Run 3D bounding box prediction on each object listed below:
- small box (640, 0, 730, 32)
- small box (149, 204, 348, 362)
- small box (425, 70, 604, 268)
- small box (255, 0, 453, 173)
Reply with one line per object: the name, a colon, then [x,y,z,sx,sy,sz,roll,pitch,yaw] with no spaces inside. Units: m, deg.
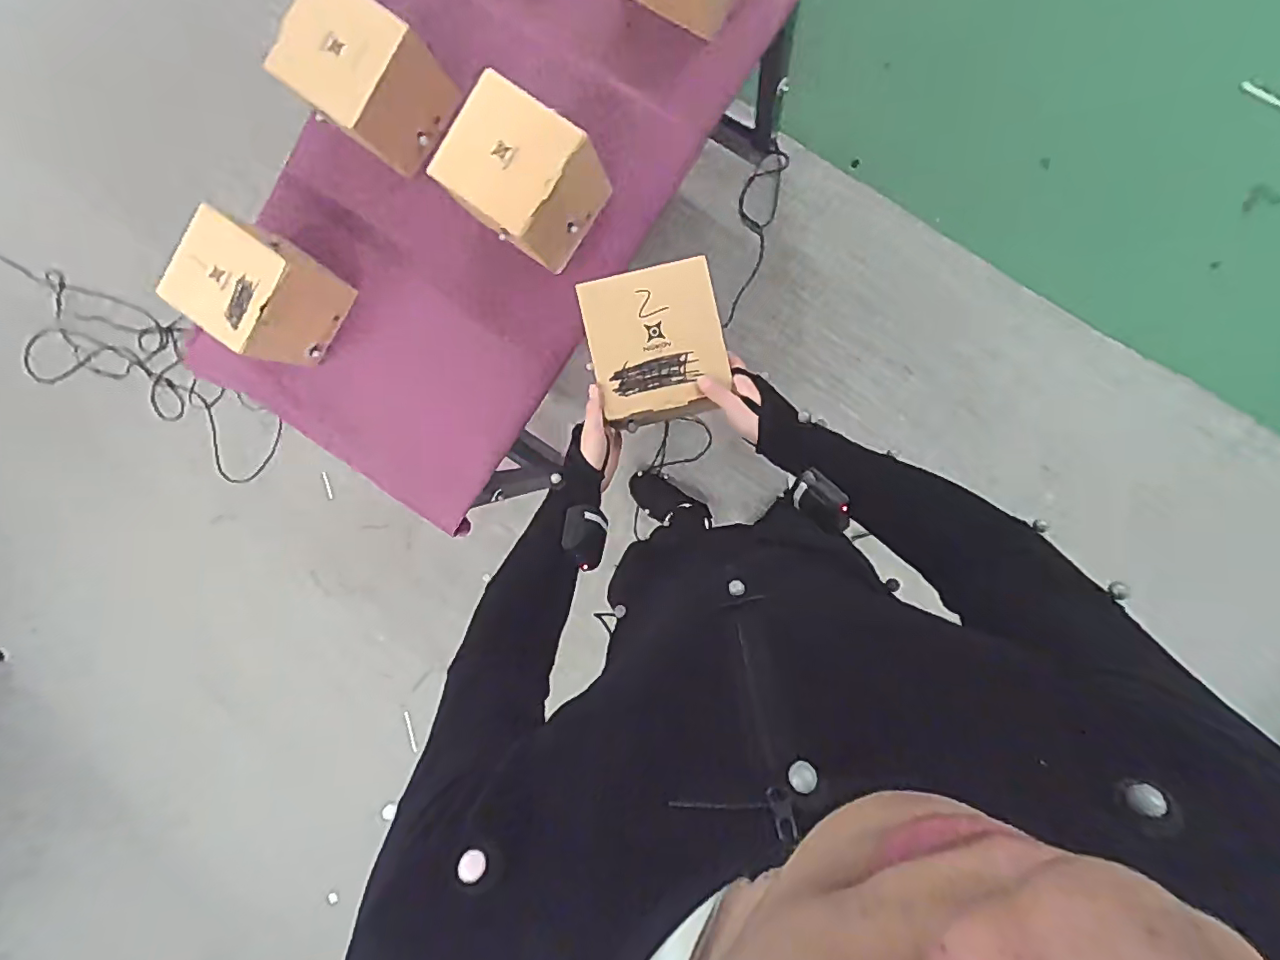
small box: [0.063,-0.792,0.757,0.179,0.176,0.168,34,100,4]
small box: [-0.636,-0.311,0.900,0.179,0.176,0.168,36,98,3]
small box: [-0.179,-0.456,0.826,0.179,0.176,0.168,36,98,4]
small box: [-0.435,-0.626,0.848,0.179,0.176,0.168,37,100,2]
